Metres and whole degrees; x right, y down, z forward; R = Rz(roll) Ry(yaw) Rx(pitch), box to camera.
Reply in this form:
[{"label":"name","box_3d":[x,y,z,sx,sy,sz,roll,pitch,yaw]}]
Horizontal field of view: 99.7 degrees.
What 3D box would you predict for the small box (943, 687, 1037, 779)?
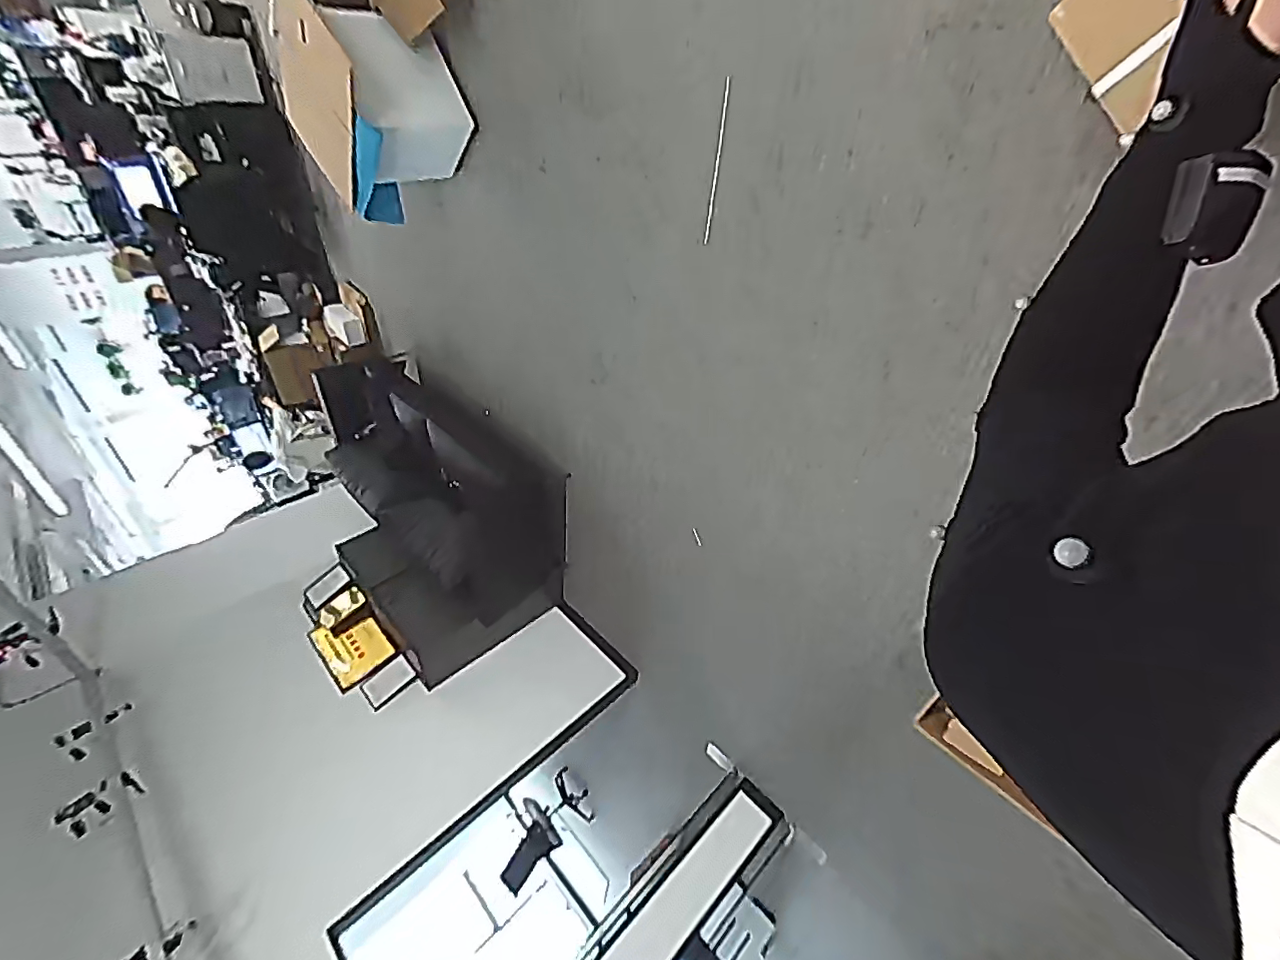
[{"label":"small box","box_3d":[1.108,0.789,1.712,0.179,0.176,0.168,32,135,34]}]
